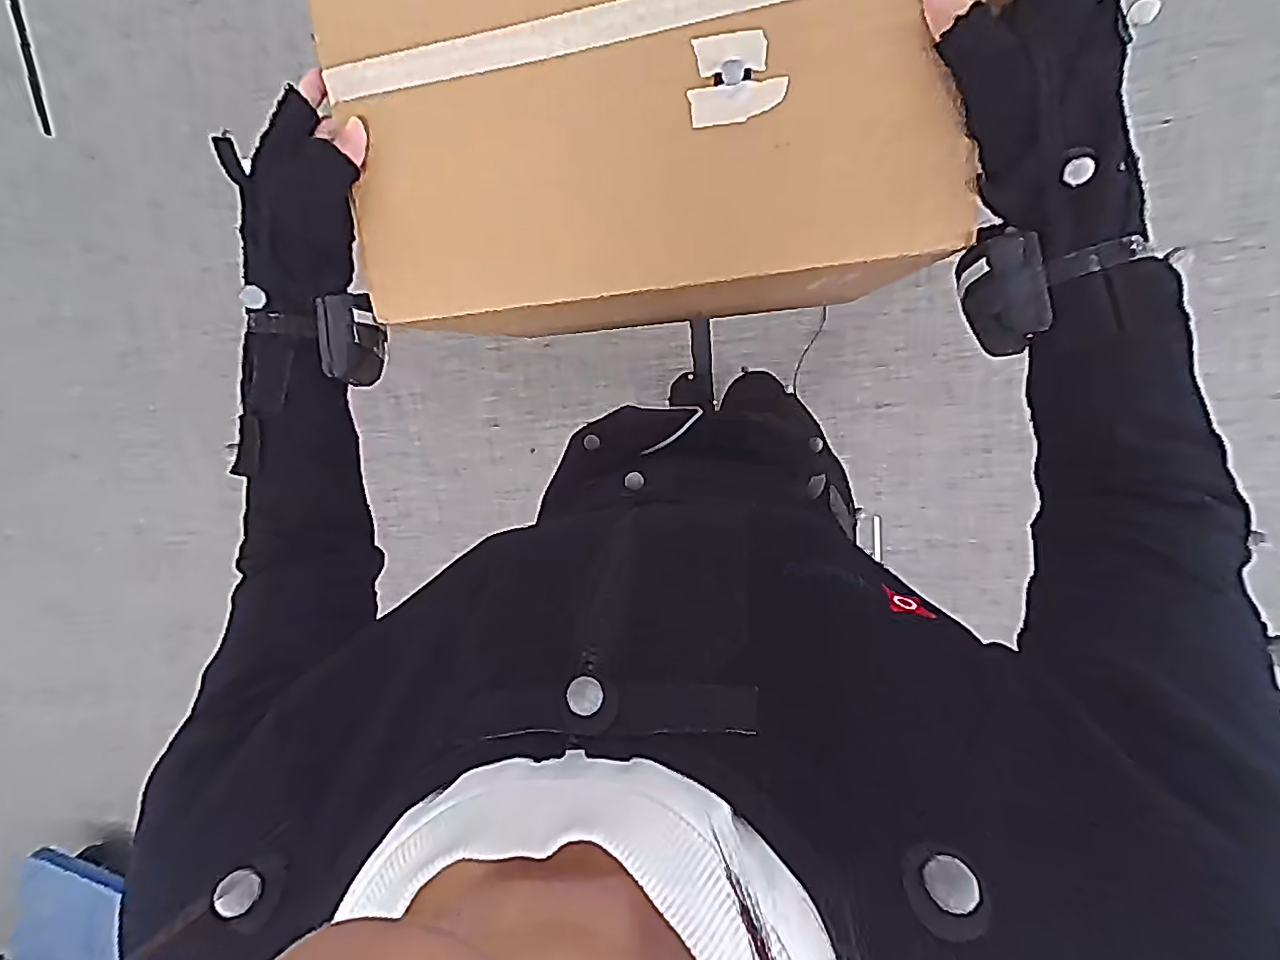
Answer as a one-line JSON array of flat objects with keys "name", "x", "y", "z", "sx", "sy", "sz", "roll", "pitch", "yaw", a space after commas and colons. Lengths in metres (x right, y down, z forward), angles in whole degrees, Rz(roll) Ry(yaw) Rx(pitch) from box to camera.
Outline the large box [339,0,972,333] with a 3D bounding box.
[{"name": "large box", "x": 0.016, "y": -0.322, "z": 0.486, "sx": 0.408, "sy": 0.320, "sz": 0.320, "roll": -4, "pitch": 102, "yaw": 10}]
